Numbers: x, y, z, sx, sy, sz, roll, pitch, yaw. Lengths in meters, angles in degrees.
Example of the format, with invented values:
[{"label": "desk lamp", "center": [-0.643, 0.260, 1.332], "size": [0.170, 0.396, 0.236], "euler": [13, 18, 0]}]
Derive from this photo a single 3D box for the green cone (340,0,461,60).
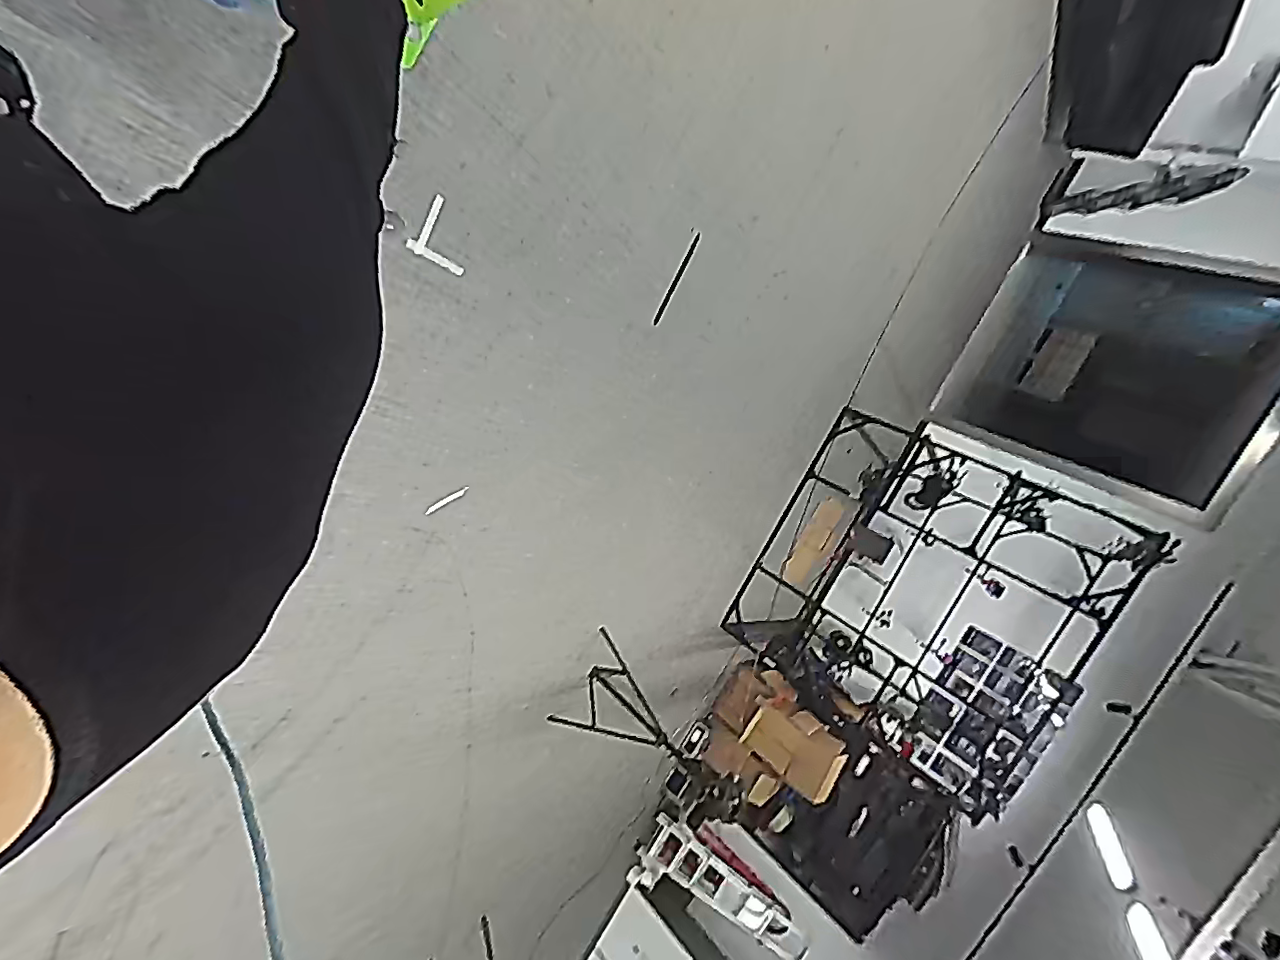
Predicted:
[{"label": "green cone", "center": [-0.412, -0.968, 1.042], "size": [0.200, 0.368, 0.202], "euler": [-60, 148, 3]}]
